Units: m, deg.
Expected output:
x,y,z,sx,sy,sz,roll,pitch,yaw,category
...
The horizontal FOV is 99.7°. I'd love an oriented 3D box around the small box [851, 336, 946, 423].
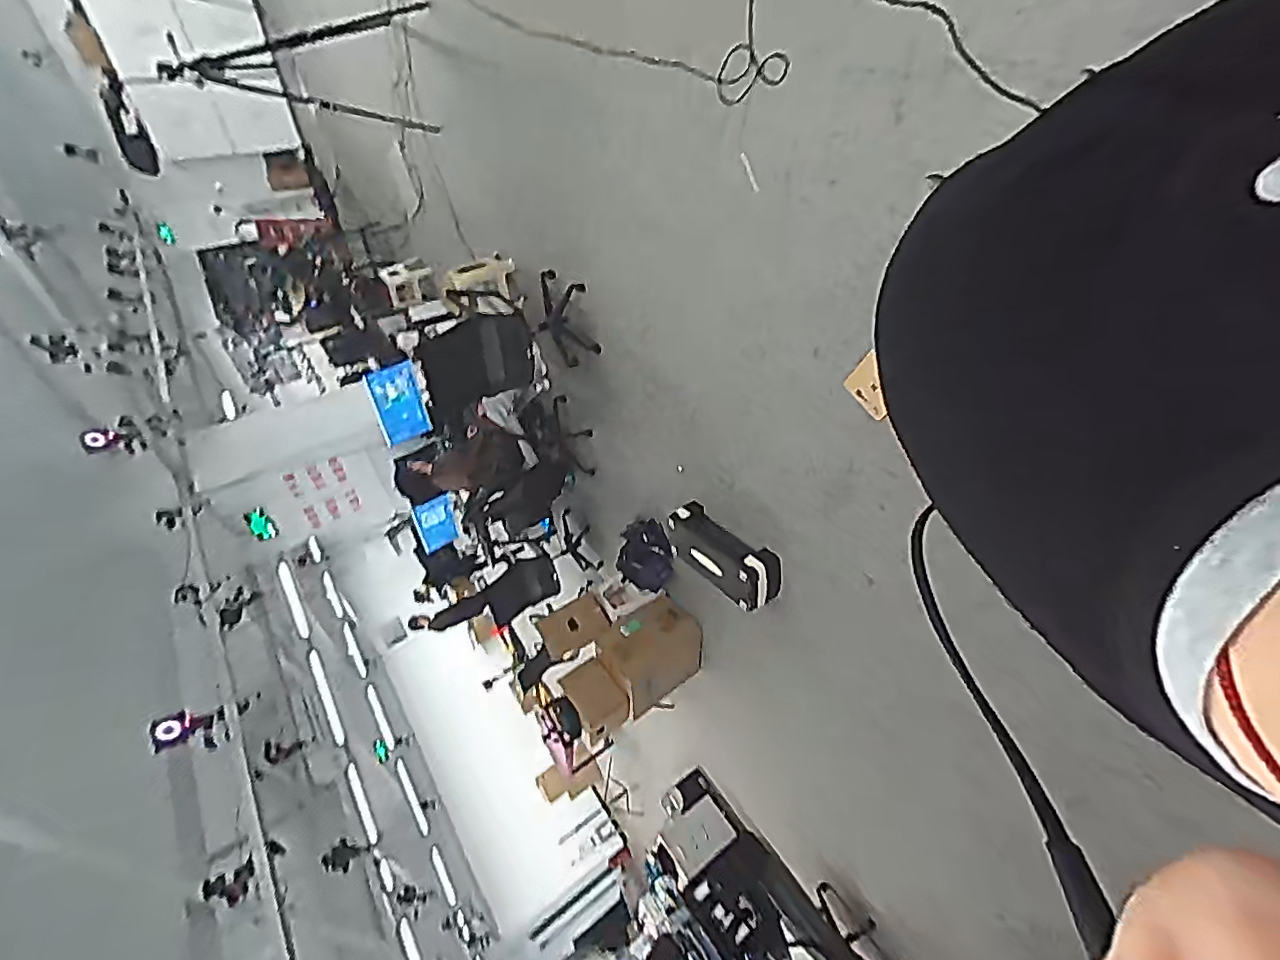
x,y,z,sx,sy,sz,roll,pitch,yaw,category
0.796,-0.310,1.655,0.168,0.176,0.179,54,152,18,small box
